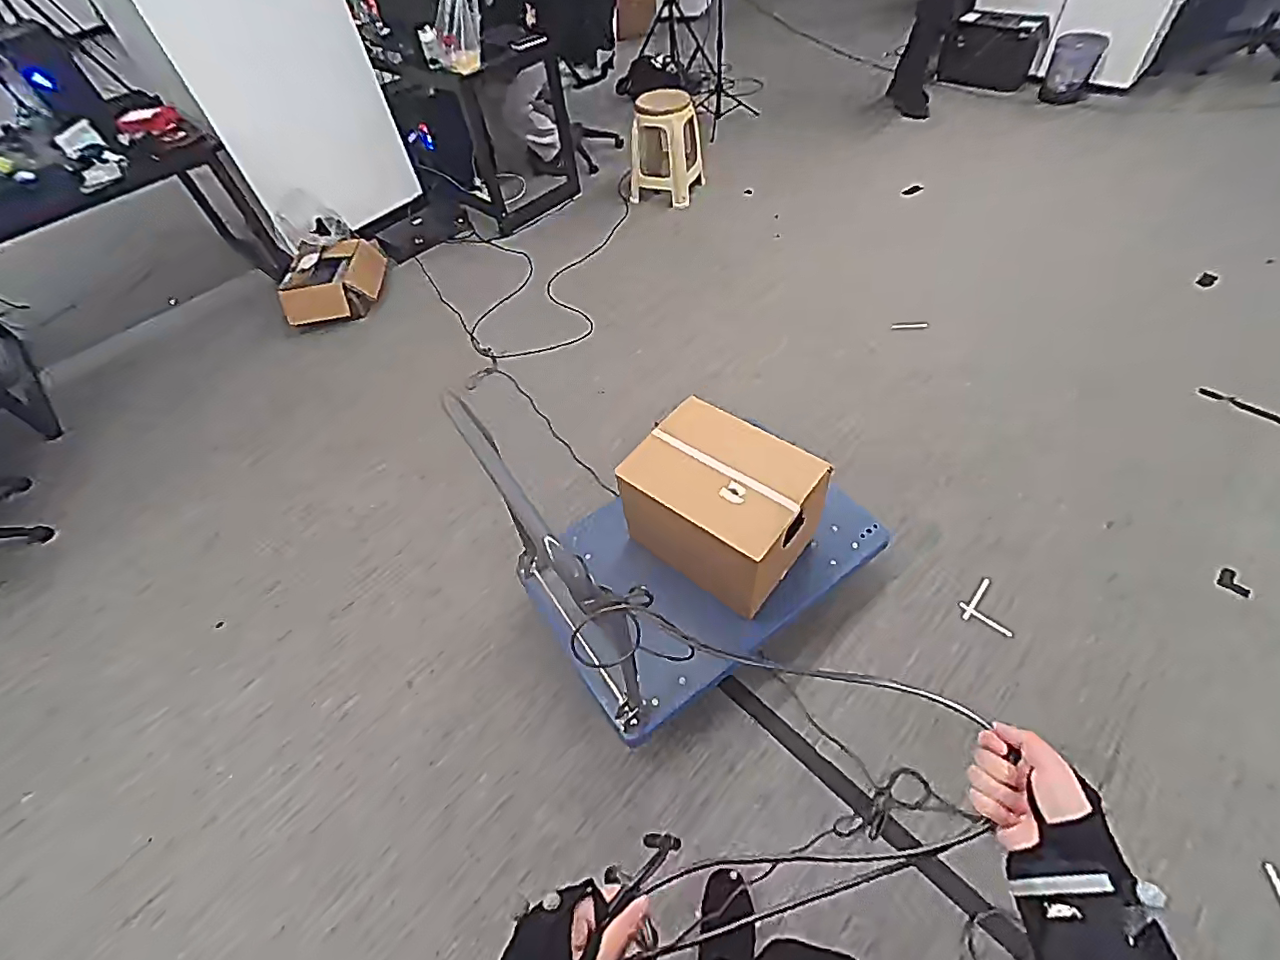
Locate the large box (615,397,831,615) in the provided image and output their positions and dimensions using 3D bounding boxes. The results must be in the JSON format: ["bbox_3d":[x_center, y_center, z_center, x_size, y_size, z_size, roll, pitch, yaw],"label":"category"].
[{"bbox_3d":[0.198,0.062,1.359,0.408,0.320,0.320,31,64,25],"label":"large box"}]
